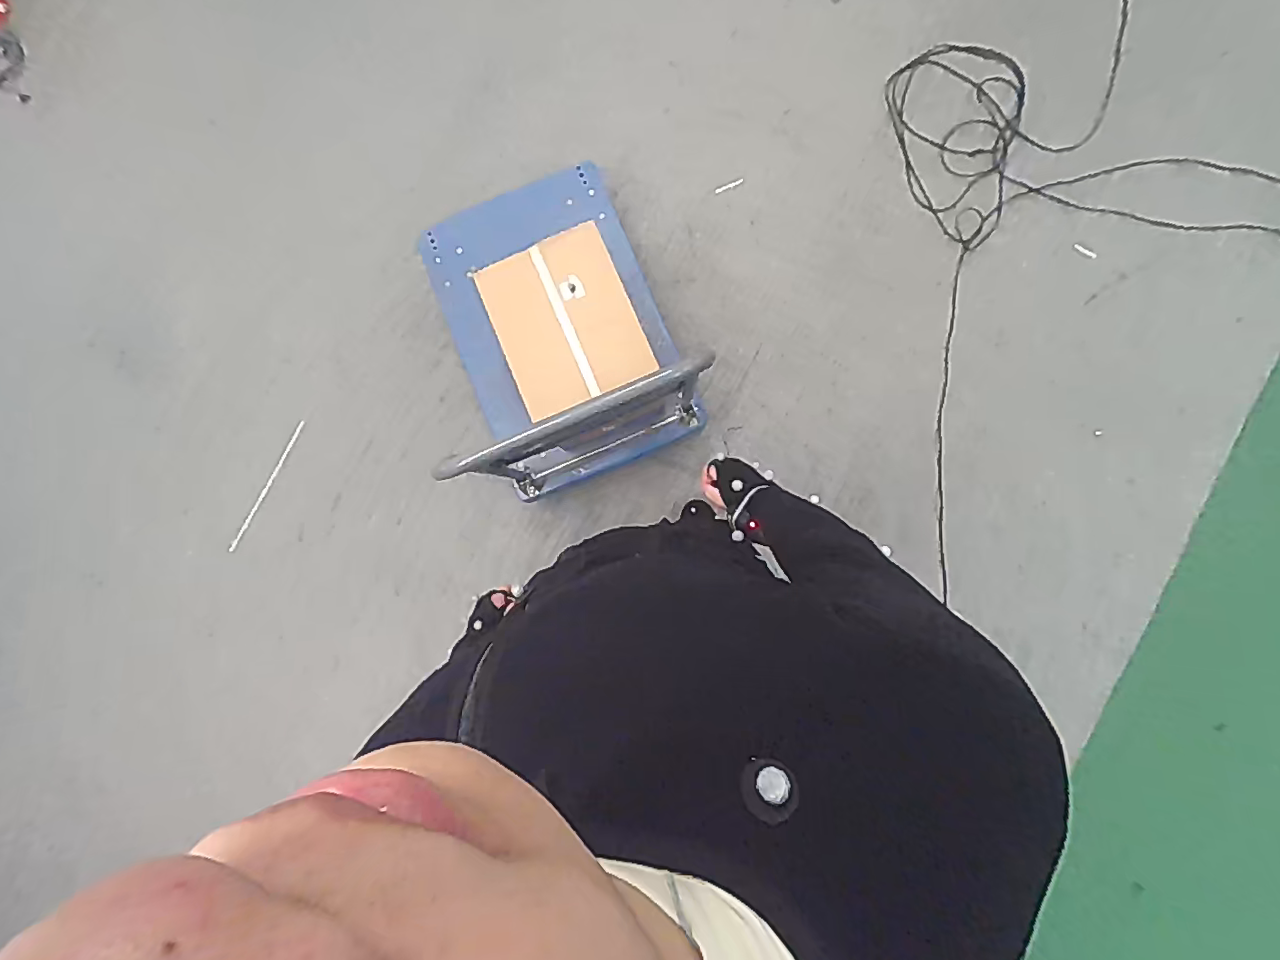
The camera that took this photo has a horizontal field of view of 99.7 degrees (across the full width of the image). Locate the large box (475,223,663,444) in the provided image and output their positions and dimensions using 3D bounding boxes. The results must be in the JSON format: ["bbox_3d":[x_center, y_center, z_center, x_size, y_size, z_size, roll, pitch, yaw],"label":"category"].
[{"bbox_3d":[-0.161,-0.351,1.394,0.320,0.320,0.408,-23,83,1],"label":"large box"}]
